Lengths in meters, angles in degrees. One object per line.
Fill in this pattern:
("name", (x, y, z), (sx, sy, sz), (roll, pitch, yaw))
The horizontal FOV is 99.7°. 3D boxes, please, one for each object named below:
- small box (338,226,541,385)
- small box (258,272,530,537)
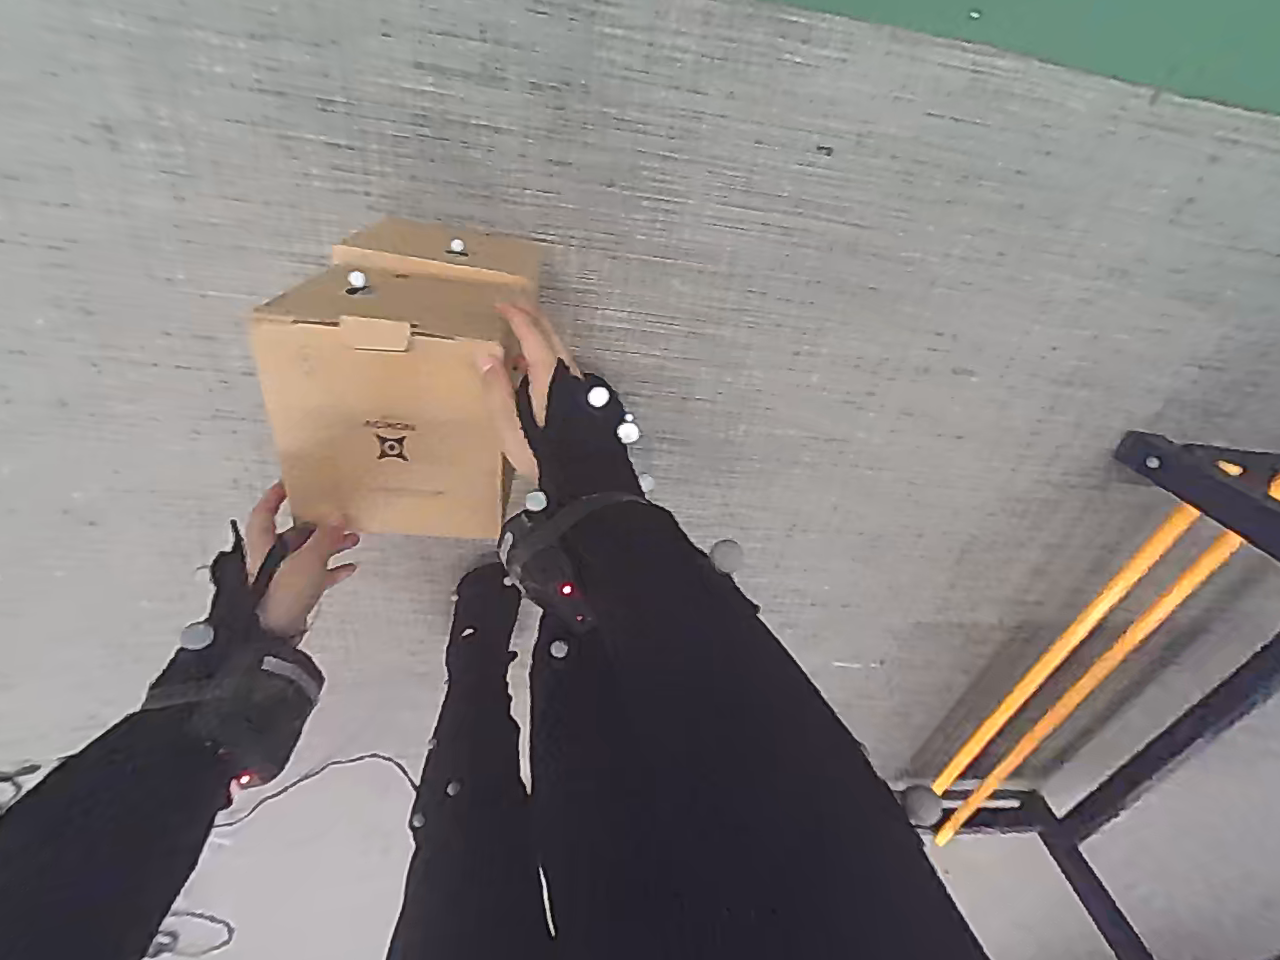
("small box", (-0.207, -0.173, 0.604), (0.179, 0.176, 0.168), (7, 122, -10))
("small box", (-0.190, -0.072, 0.476), (0.168, 0.176, 0.179), (4, 123, -7))
